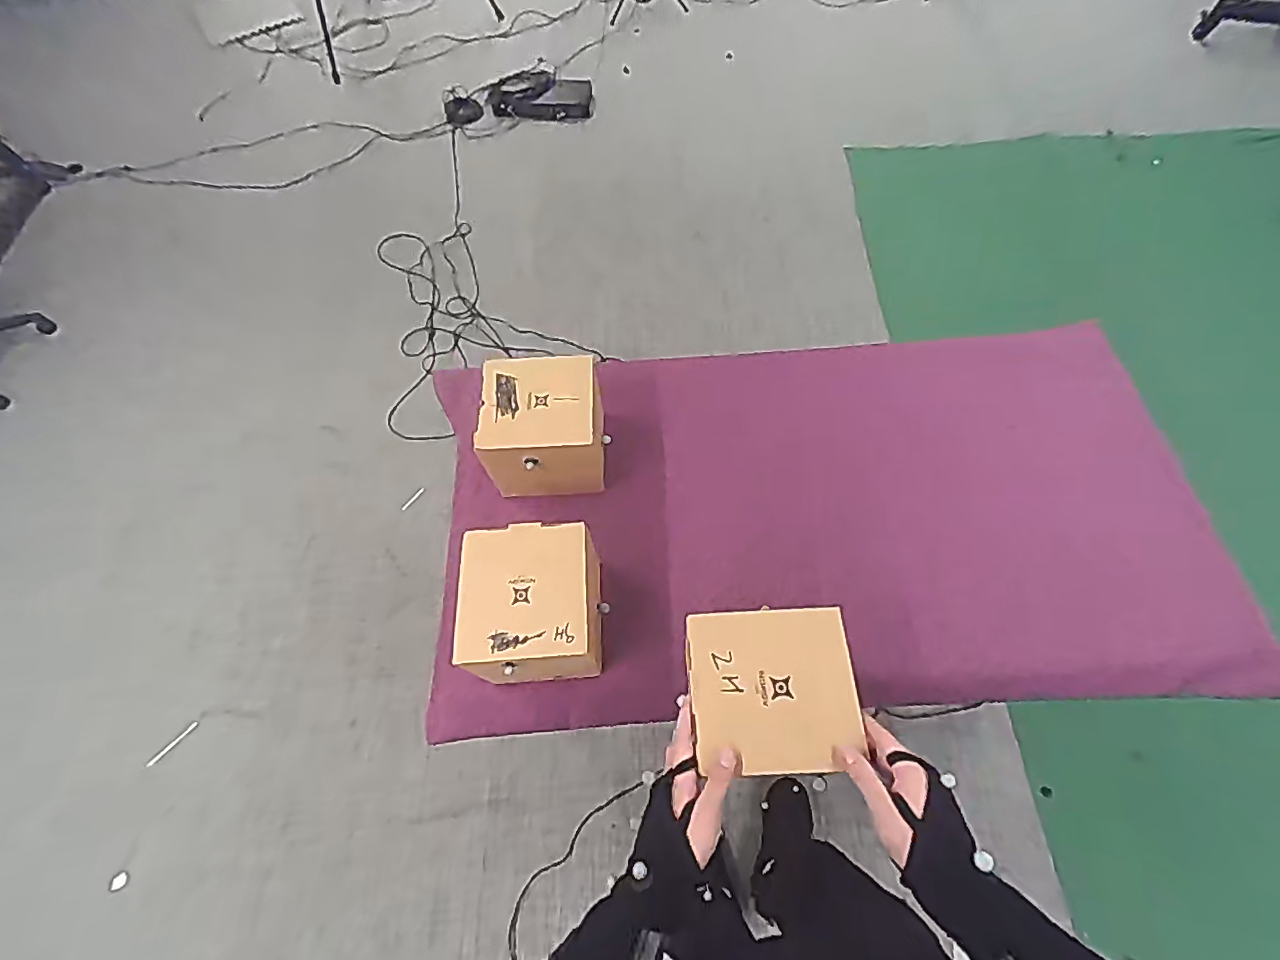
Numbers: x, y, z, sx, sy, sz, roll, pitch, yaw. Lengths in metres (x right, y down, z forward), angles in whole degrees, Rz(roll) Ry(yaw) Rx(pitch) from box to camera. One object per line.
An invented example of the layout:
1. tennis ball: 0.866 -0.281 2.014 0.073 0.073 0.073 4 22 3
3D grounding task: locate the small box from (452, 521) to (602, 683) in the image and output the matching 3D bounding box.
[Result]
1. small box: -0.143 0.173 0.750 0.168 0.176 0.179 -4 62 1

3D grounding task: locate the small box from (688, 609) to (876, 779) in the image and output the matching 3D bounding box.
1. small box: 0.150 0.256 0.641 0.179 0.176 0.168 -4 62 3

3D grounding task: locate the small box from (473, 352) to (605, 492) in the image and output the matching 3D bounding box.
1. small box: -0.153 -0.087 0.880 0.179 0.176 0.168 -3 64 1
